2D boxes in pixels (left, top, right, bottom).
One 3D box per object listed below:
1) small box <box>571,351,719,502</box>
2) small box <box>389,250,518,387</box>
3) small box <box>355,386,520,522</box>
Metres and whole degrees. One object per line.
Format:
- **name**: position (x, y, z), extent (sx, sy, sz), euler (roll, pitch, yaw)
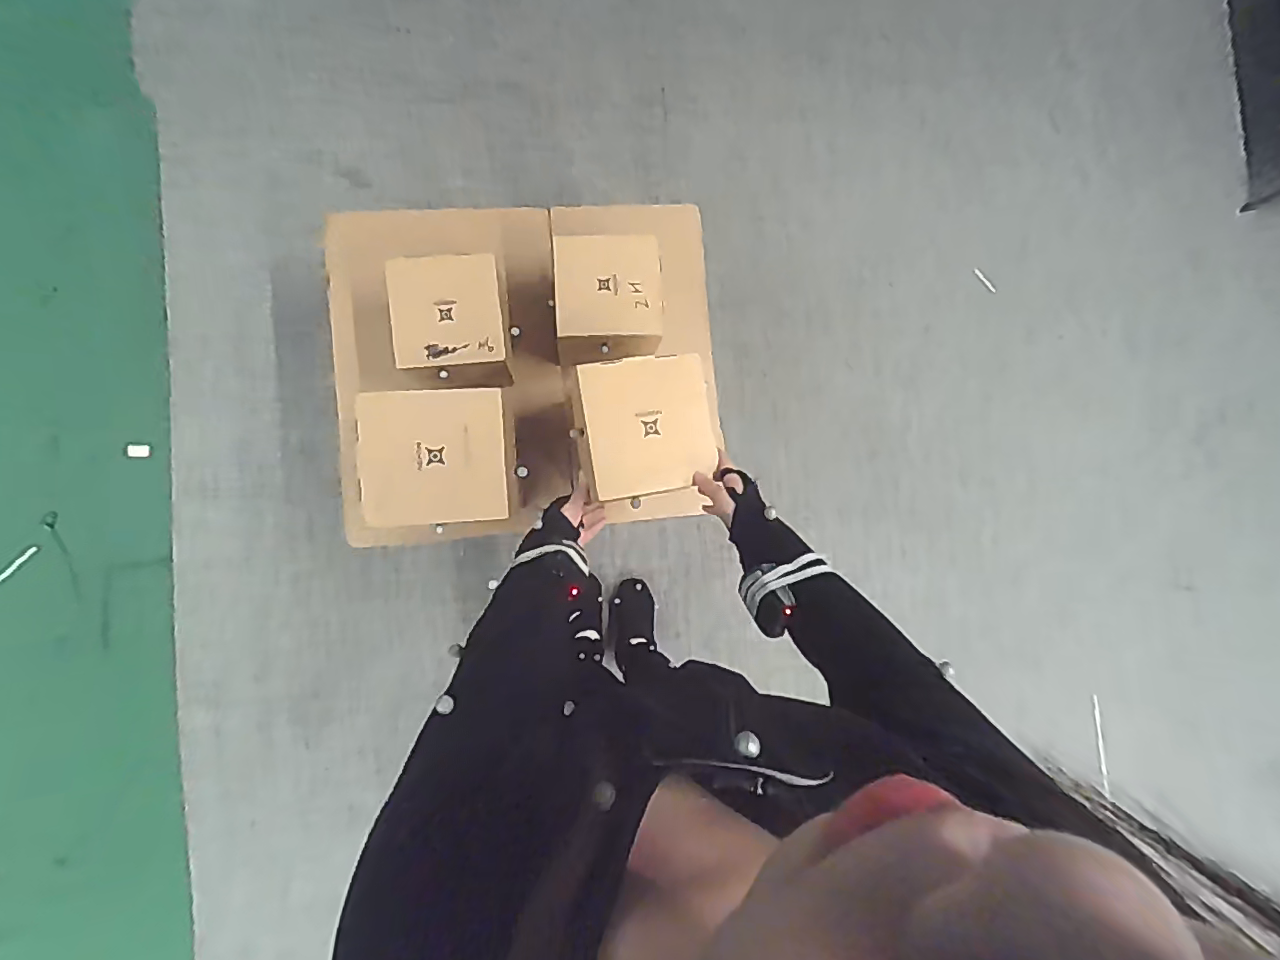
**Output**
- **small box**: position (-0.002, -0.065, 0.761), extent (0.168, 0.176, 0.179), euler (-9, 85, -11)
- **small box**: position (-0.304, -0.260, 0.908), extent (0.168, 0.176, 0.179), euler (-6, 87, -6)
- **small box**: position (-0.264, -0.030, 0.737), extent (0.179, 0.176, 0.168), euler (-3, 89, -7)
